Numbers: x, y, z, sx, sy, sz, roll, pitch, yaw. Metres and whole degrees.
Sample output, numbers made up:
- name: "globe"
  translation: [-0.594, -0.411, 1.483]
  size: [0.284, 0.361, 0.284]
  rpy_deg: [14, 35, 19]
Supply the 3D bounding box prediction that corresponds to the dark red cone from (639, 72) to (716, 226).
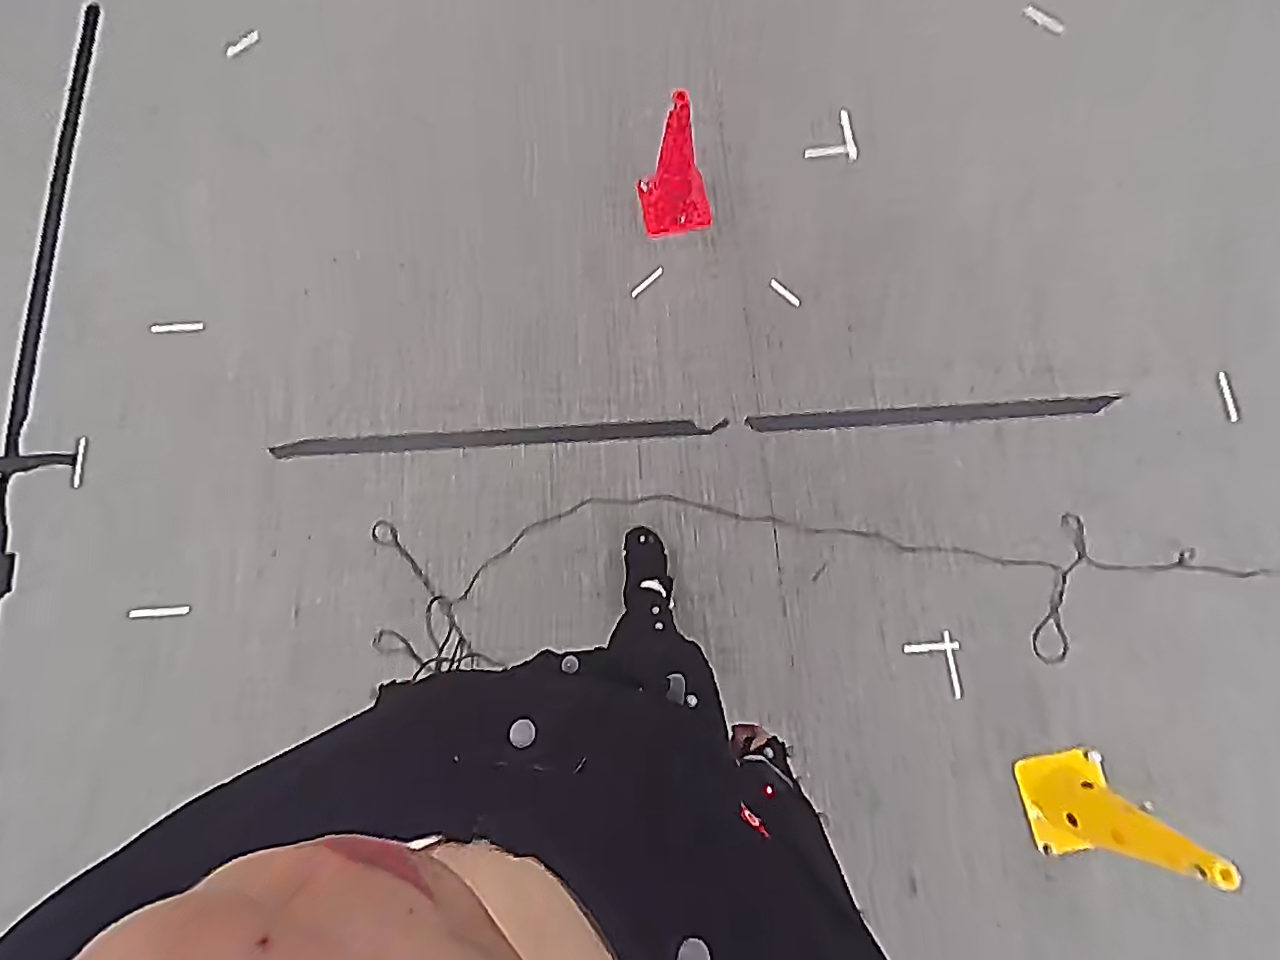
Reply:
- name: "dark red cone"
  translation: [0.104, -0.863, 1.401]
  size: [0.202, 0.394, 0.201]
  rpy_deg: [-11, 79, -1]
